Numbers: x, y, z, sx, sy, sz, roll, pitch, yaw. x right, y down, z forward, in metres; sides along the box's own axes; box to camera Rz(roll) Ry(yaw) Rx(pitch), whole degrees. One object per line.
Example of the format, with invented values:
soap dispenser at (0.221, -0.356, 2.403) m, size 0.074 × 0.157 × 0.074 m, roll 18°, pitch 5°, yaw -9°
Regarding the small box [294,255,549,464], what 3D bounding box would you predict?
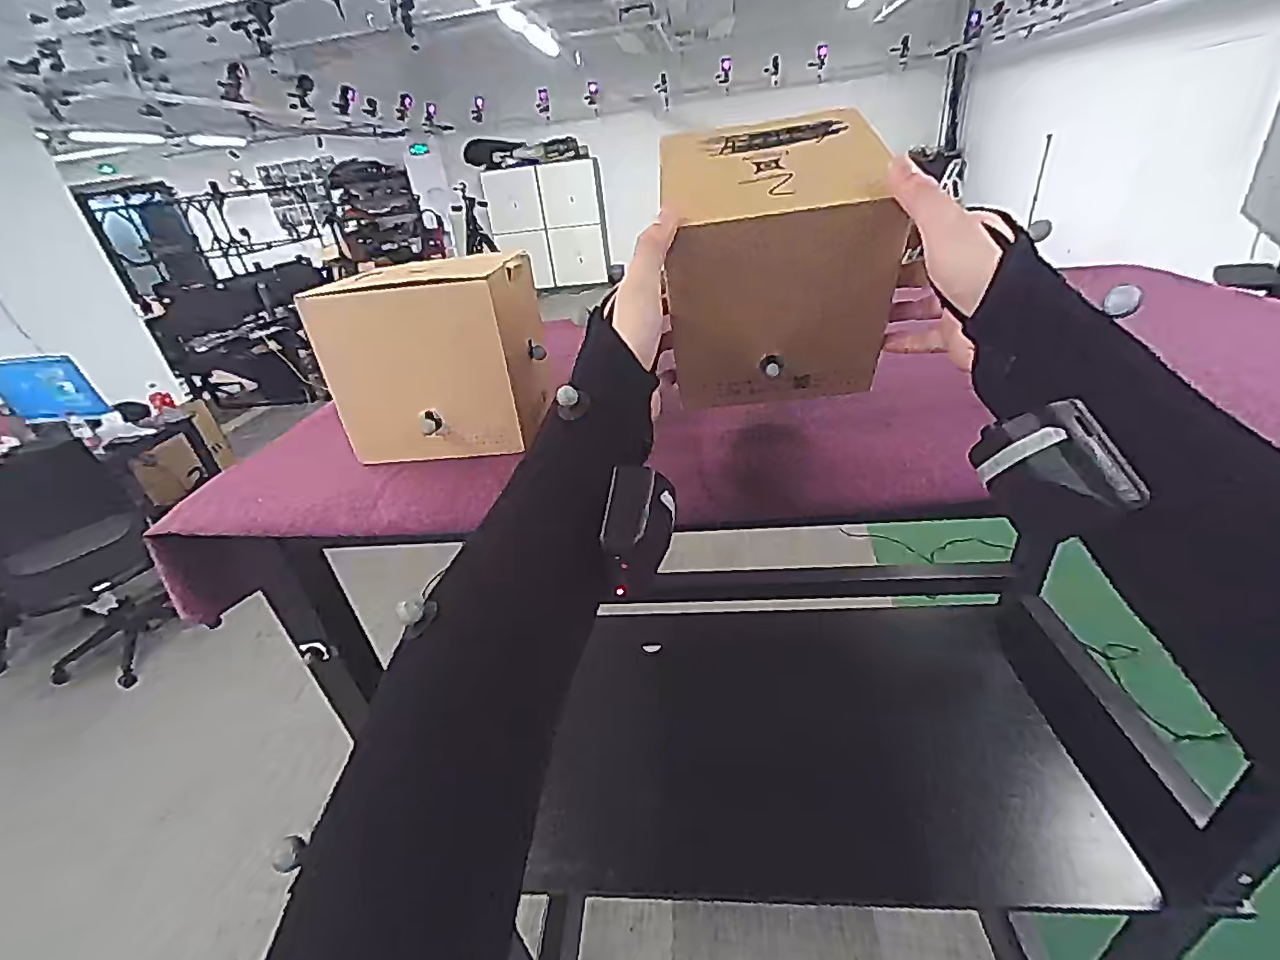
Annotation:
small box at (-0.204, -0.129, 0.569) m, size 0.179 × 0.176 × 0.168 m, roll -4°, pitch 29°, yaw 5°
